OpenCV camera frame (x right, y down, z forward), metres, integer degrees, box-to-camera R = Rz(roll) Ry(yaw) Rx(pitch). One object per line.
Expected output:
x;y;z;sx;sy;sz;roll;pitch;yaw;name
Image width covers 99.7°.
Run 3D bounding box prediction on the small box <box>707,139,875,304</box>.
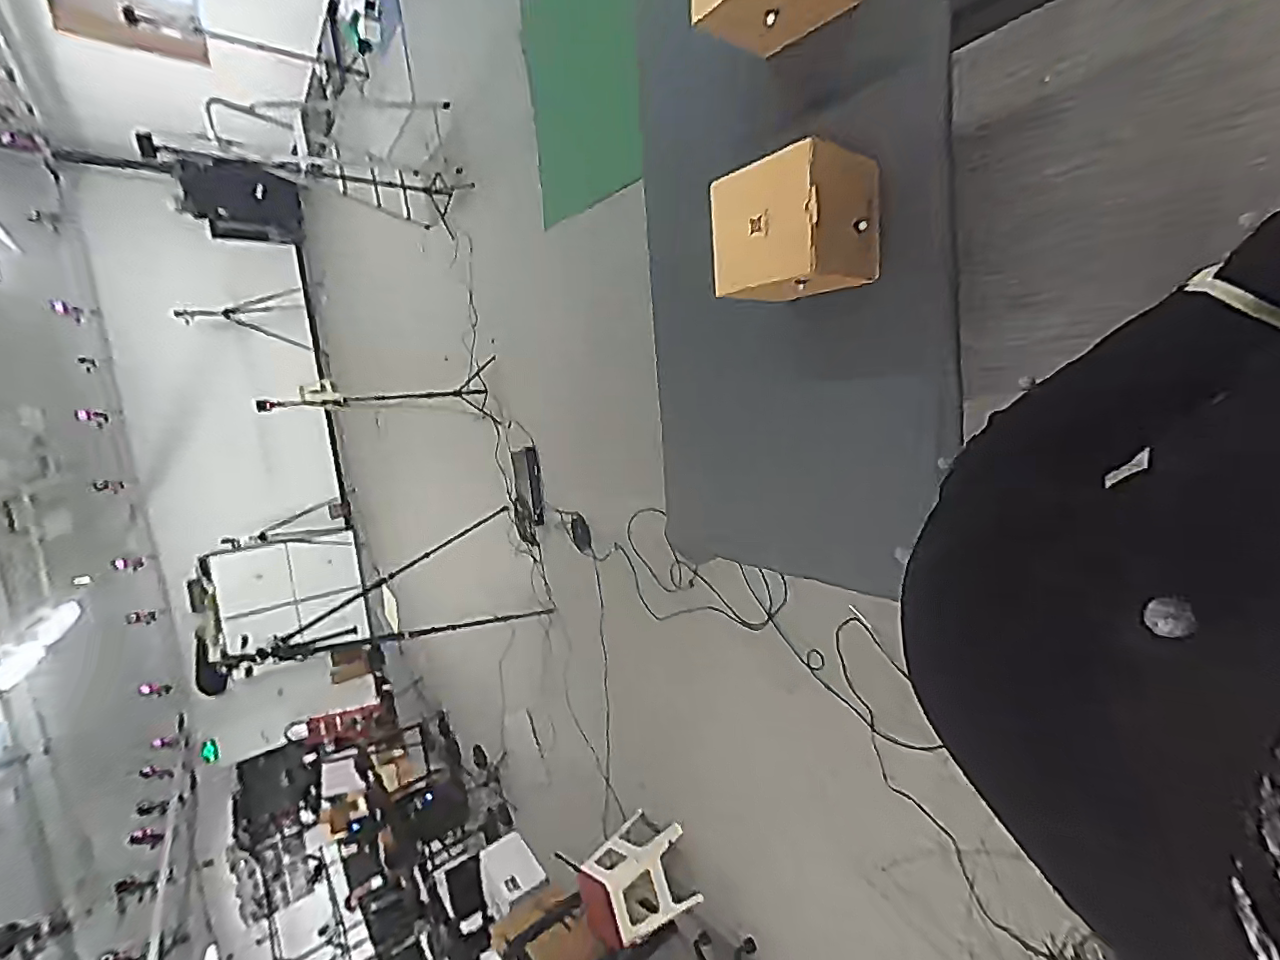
0.221;-0.360;0.796;0.179;0.176;0.168;5;103;50;small box
